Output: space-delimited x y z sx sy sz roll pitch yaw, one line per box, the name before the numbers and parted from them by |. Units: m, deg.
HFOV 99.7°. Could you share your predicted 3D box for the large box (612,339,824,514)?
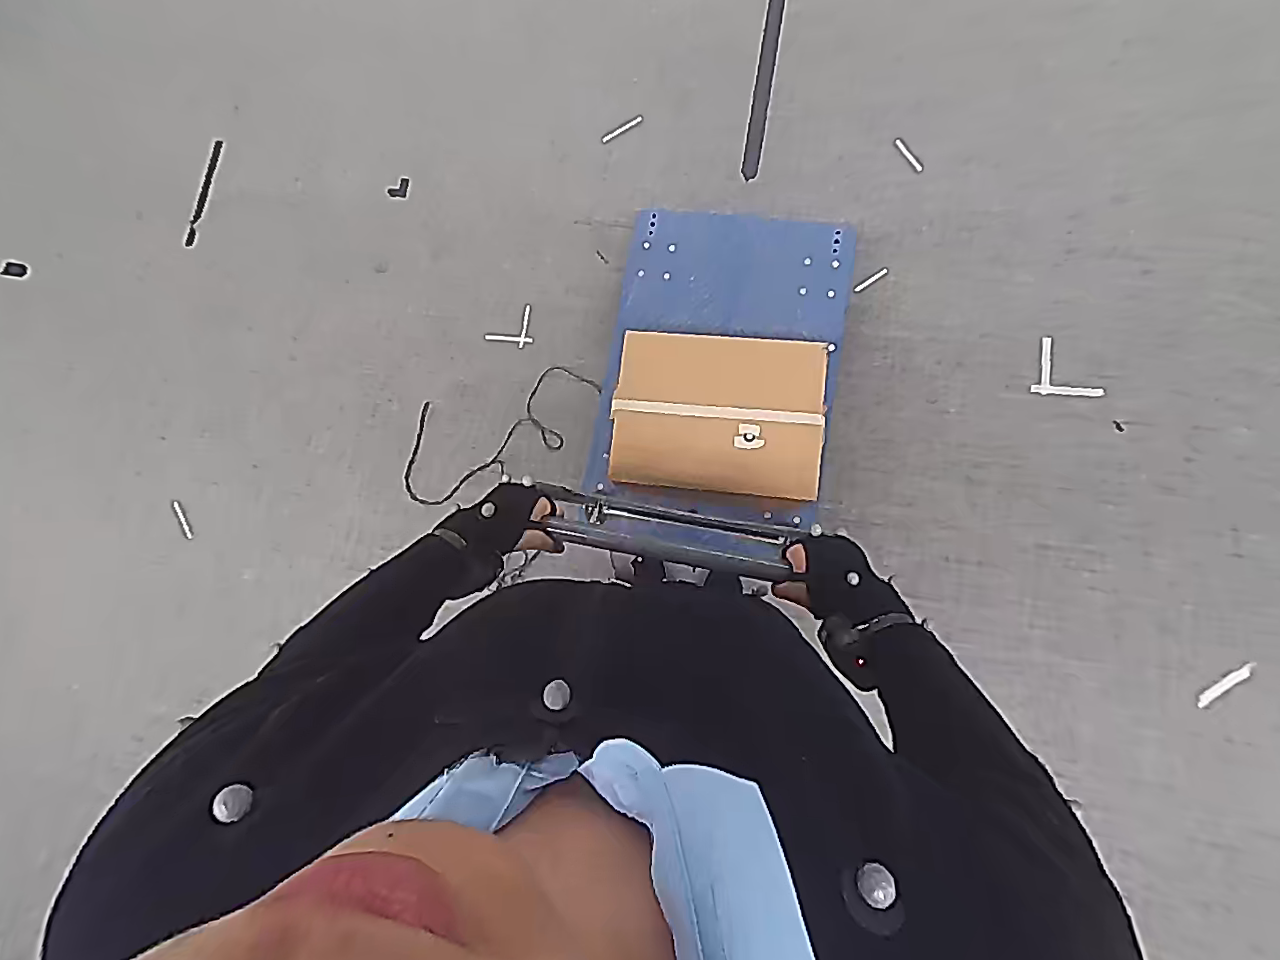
large box | 0.167 -0.102 1.215 0.408 0.320 0.320 5 83 7
